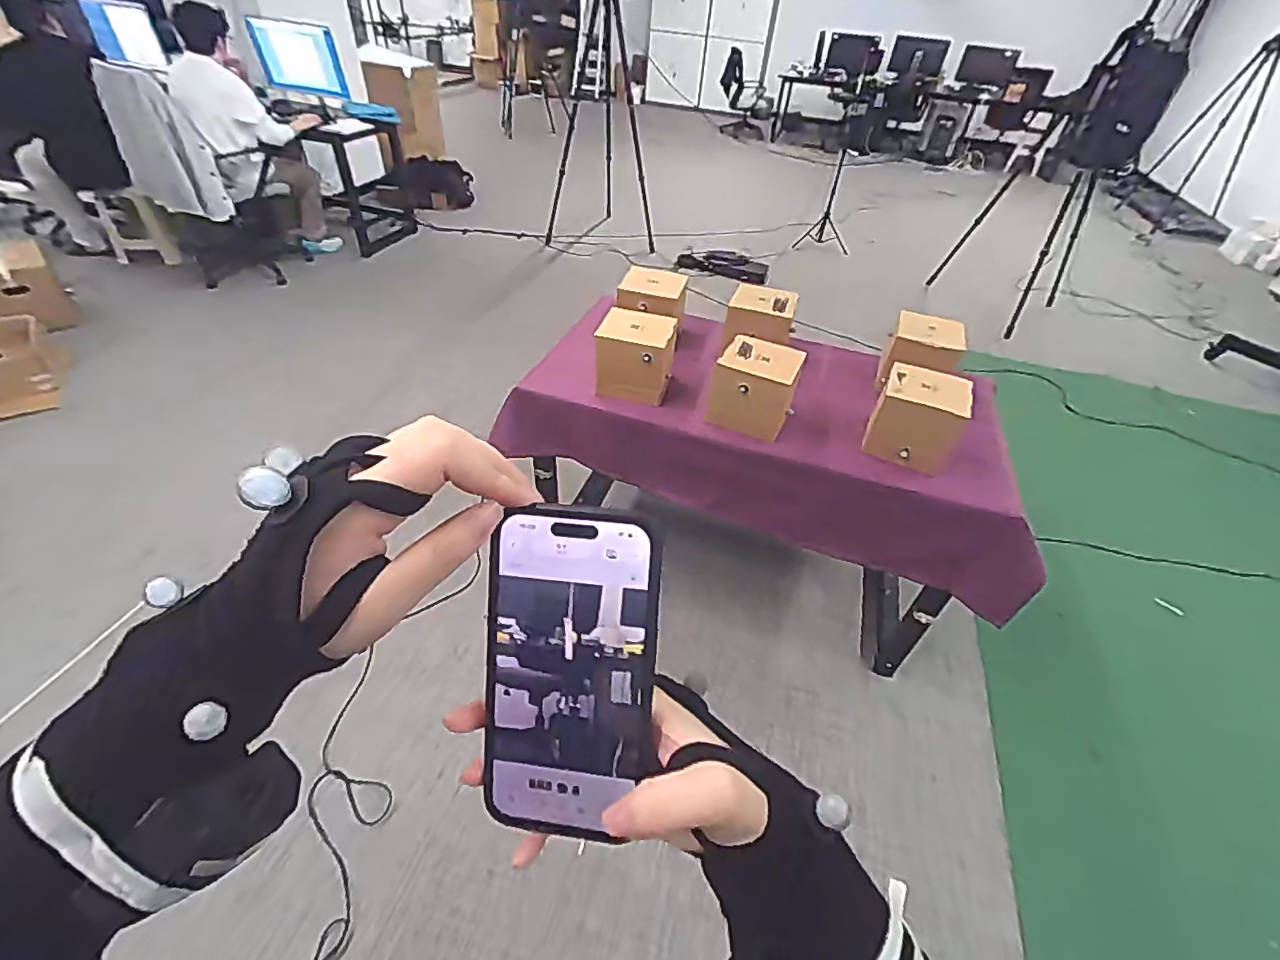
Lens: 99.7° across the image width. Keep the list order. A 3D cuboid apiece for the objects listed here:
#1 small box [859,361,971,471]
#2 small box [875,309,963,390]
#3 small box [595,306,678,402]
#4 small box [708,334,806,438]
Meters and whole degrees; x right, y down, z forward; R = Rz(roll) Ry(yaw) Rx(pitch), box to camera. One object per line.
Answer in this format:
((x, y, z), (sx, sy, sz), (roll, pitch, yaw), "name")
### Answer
((0.637, -0.145, 1.258), (0.179, 0.176, 0.168), (22, 45, 16), "small box")
((0.757, -0.337, 1.475), (0.168, 0.176, 0.179), (18, 45, 14), "small box")
((-0.012, -0.319, 1.380), (0.179, 0.176, 0.168), (13, 43, 6), "small box")
((0.278, -0.225, 1.307), (0.179, 0.176, 0.168), (21, 45, 15), "small box")
